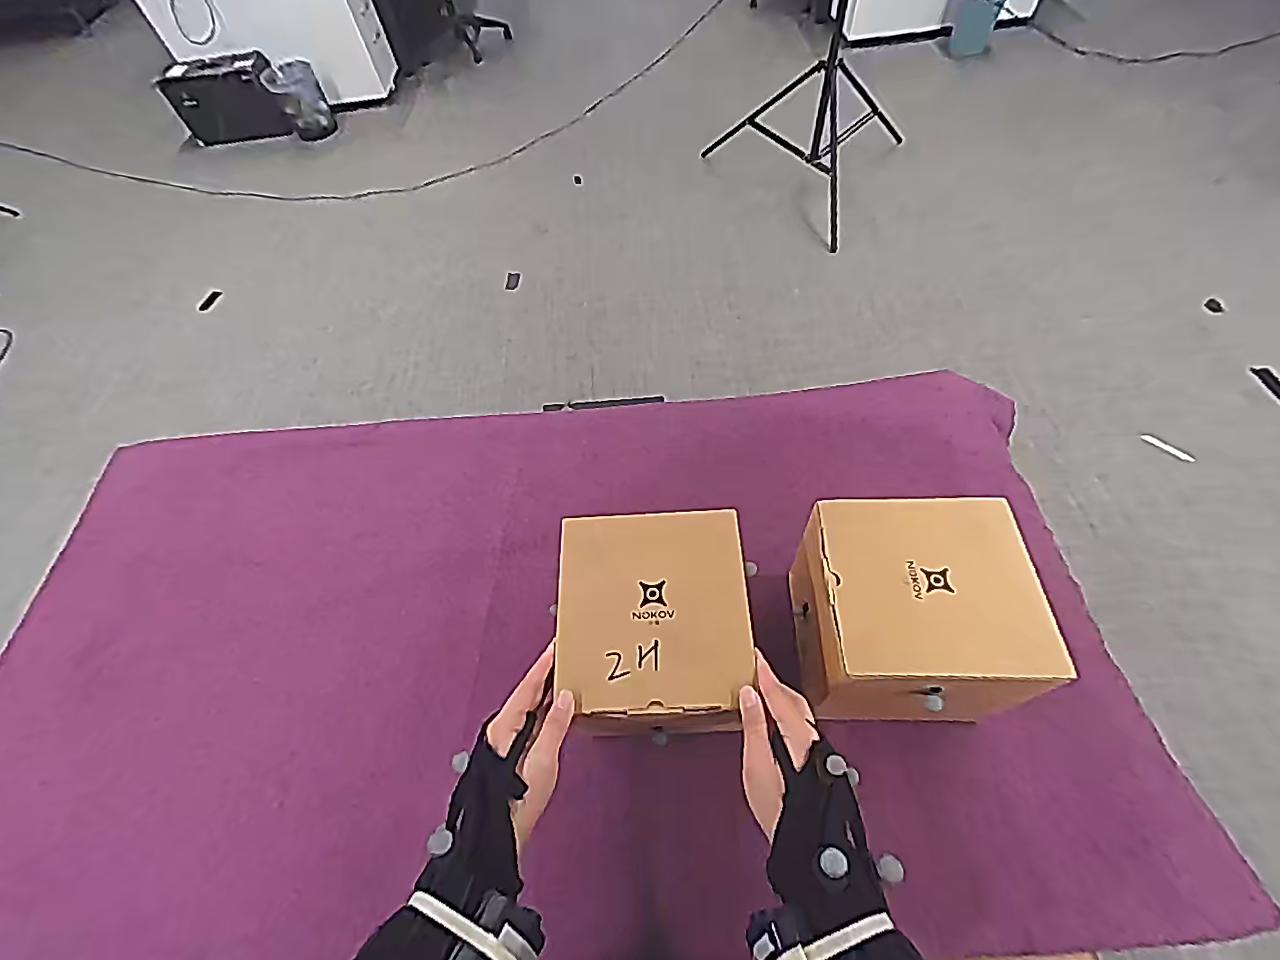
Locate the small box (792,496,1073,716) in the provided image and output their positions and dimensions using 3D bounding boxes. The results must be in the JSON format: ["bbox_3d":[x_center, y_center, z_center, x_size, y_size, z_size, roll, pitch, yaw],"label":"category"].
[{"bbox_3d":[0.259,0.128,0.534,0.179,0.176,0.168,-2,56,5],"label":"small box"}]

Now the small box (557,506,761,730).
[{"bbox_3d":[0.019,0.143,0.537,0.168,0.176,0.179,-3,60,3],"label":"small box"}]
